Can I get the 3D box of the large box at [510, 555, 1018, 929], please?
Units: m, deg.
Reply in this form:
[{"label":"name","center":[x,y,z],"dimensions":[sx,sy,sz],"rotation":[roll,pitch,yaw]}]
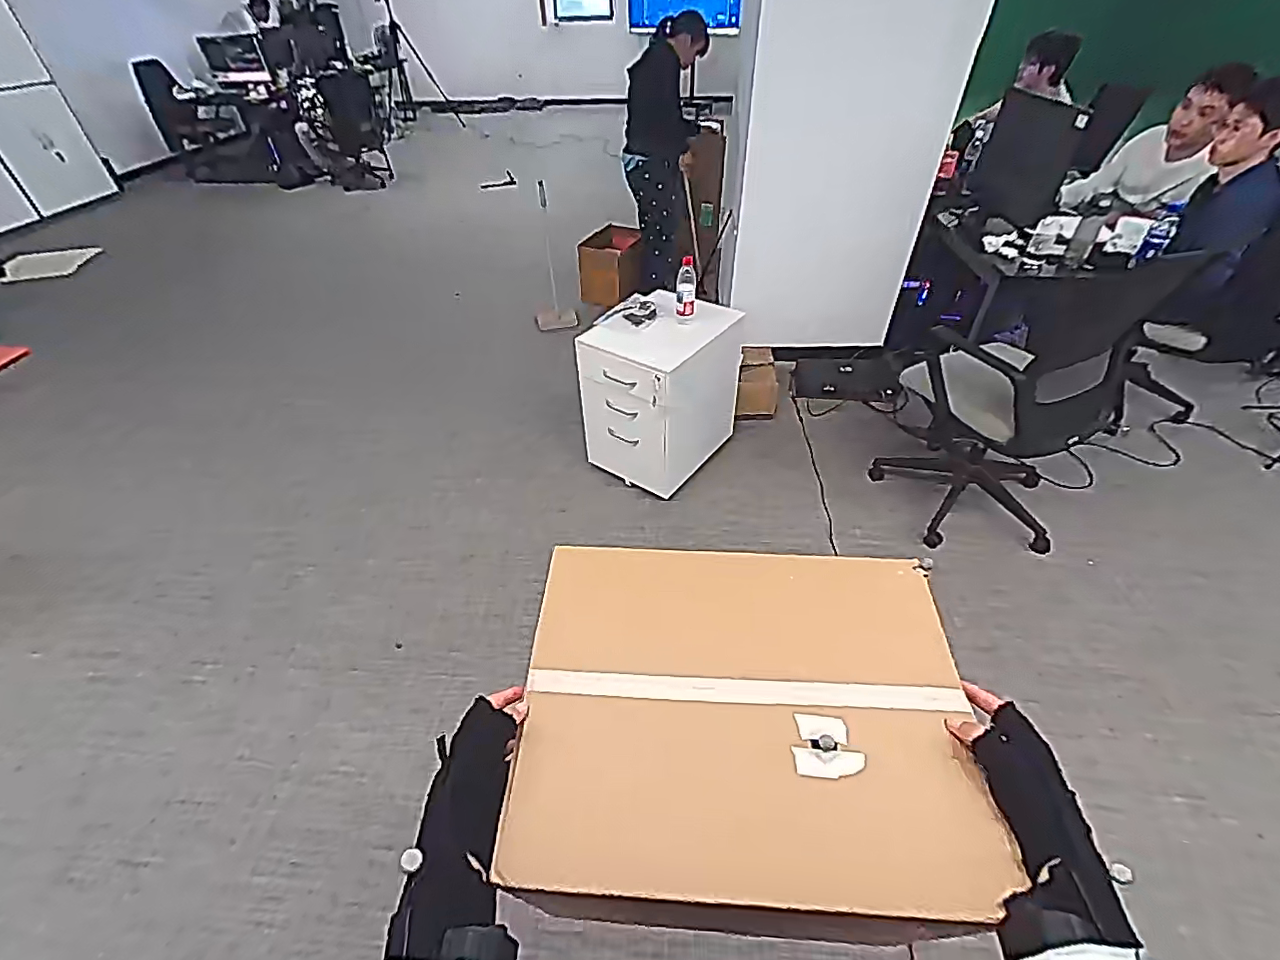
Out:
[{"label":"large box","center":[0.101,0.304,0.627],"dimensions":[0.408,0.320,0.320],"rotation":[2,49,3]}]
